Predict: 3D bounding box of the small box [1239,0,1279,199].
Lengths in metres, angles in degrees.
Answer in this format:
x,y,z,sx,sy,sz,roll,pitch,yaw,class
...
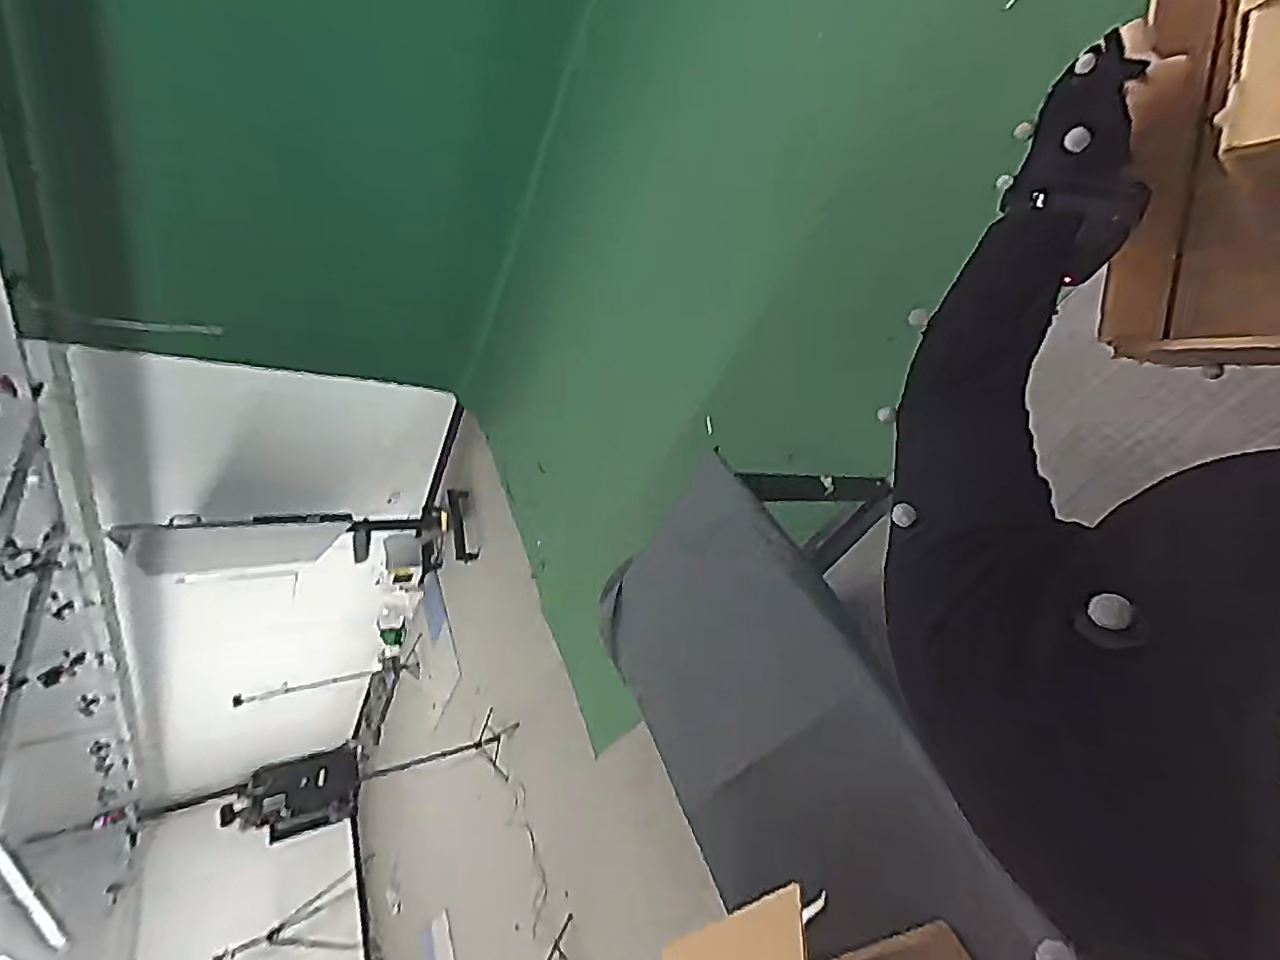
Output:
x,y,z,sx,sy,sz,roll,pitch,yaw,class
0.395,-0.231,0.218,0.179,0.176,0.168,12,103,51,small box
